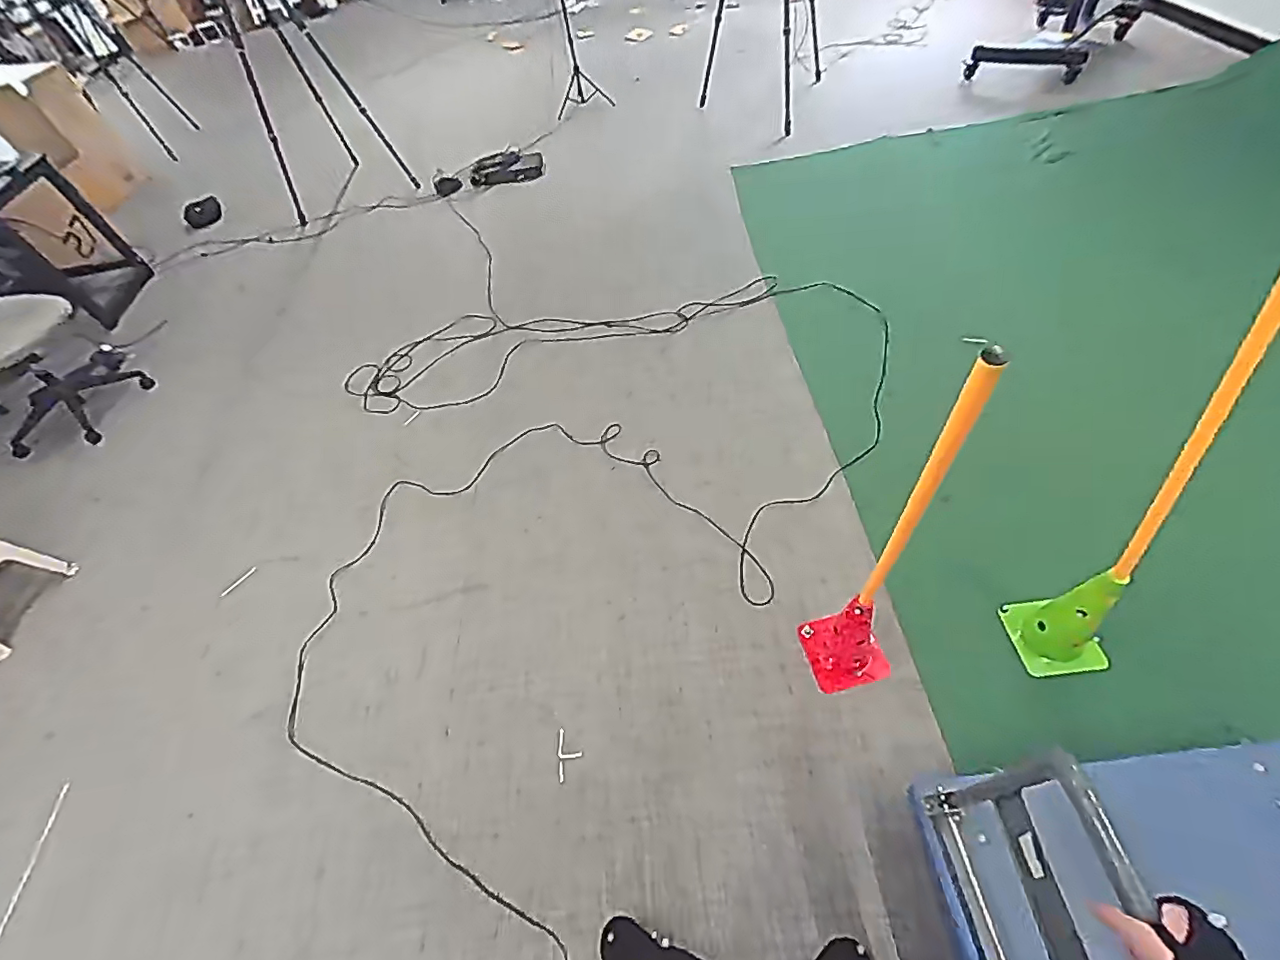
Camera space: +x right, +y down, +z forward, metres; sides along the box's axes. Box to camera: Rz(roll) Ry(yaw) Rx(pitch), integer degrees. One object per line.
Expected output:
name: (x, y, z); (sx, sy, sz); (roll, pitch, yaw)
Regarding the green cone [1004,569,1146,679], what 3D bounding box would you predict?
green cone: (1.085, 0.320, 1.302); (0.202, 0.368, 0.200); (-8, 52, 4)
